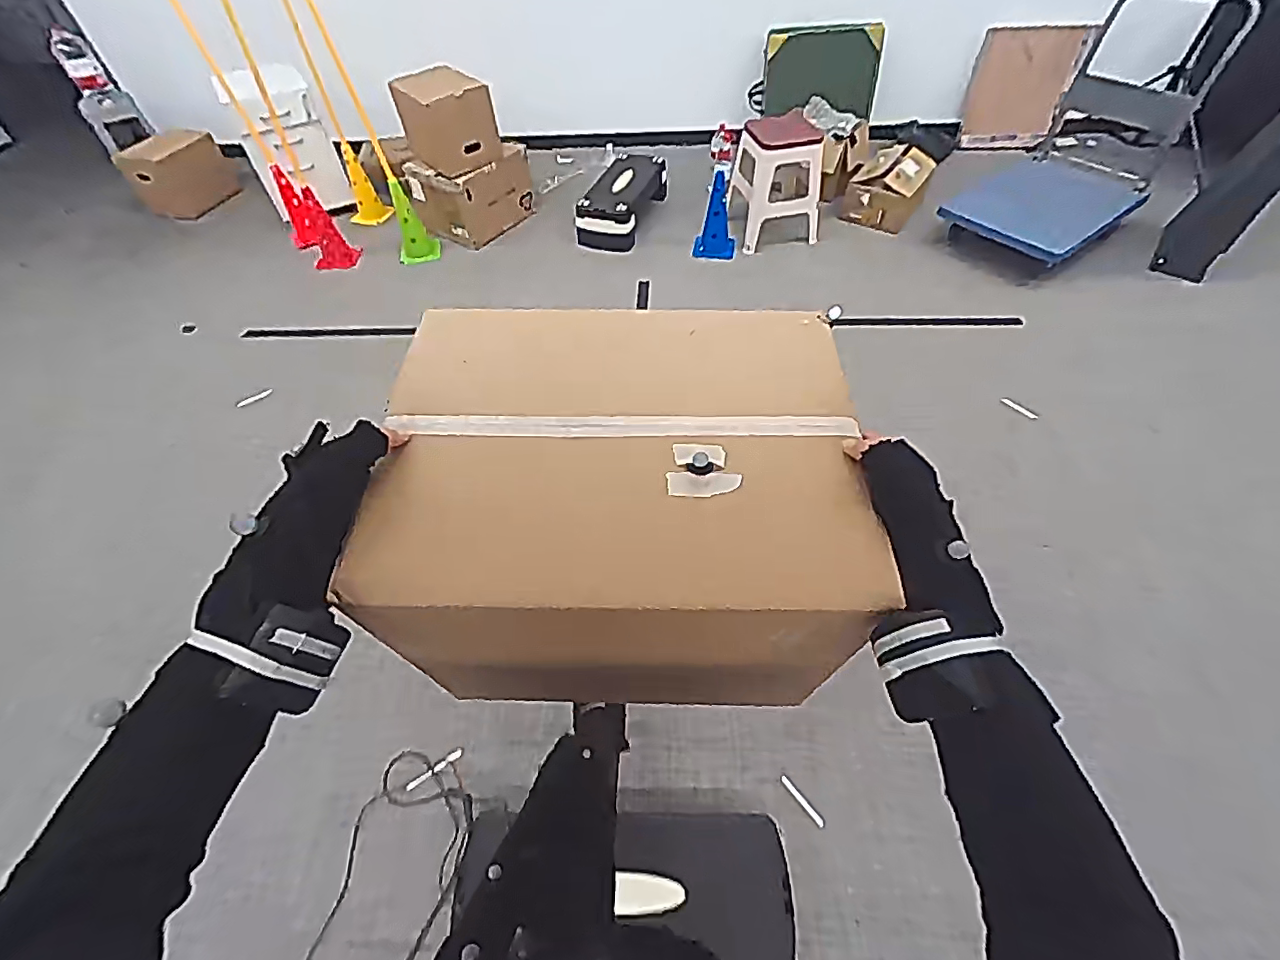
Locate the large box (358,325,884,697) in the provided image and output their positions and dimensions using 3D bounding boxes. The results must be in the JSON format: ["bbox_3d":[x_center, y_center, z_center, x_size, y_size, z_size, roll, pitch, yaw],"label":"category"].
[{"bbox_3d":[-0.015,0.047,0.607,0.408,0.320,0.320,1,56,1],"label":"large box"}]
